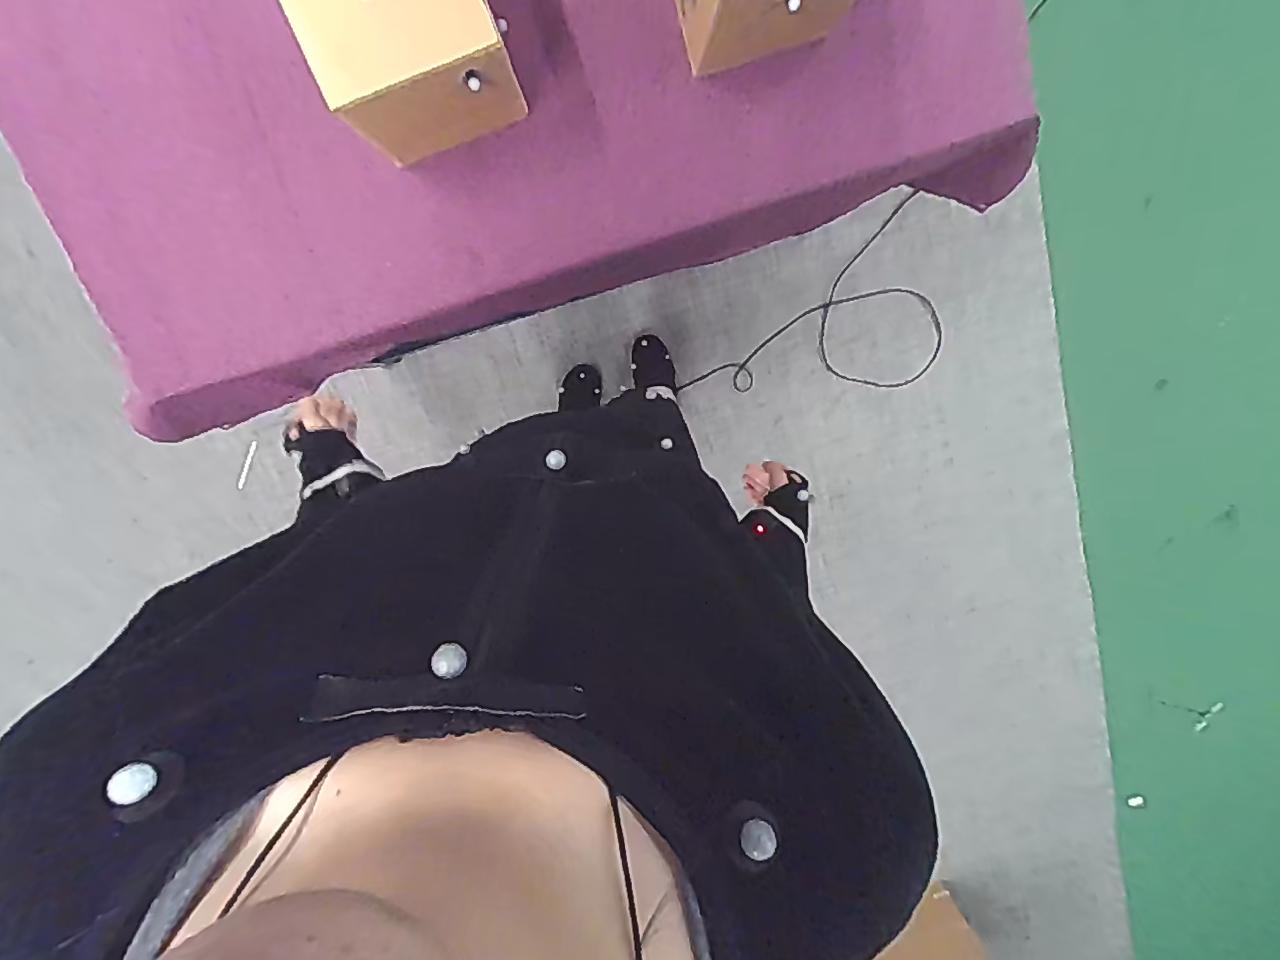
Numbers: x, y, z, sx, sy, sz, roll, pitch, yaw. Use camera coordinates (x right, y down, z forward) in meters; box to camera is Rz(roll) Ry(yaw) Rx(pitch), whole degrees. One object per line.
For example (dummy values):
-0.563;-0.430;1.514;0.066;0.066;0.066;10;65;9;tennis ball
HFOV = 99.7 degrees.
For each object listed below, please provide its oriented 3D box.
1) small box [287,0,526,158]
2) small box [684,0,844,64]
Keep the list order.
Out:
-0.238;-0.472;0.564;0.179;0.176;0.168;-22;104;2;small box
0.131;-0.575;0.556;0.179;0.176;0.168;-17;105;1;small box
